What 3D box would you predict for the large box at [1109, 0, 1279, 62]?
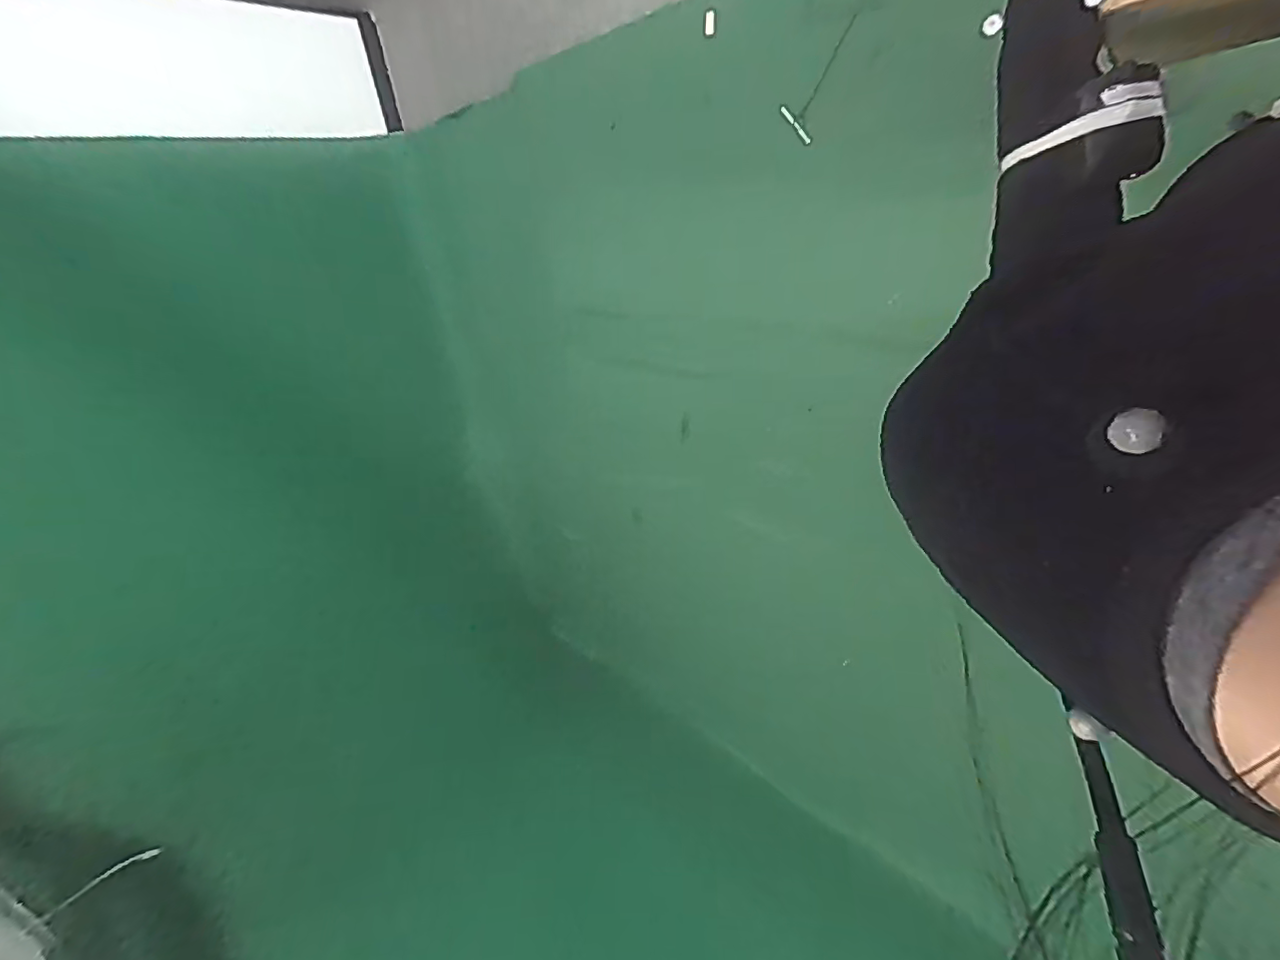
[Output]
[{"bbox_3d":[0.538,-0.490,0.282,0.408,0.320,0.320,10,118,41],"label":"large box"}]
